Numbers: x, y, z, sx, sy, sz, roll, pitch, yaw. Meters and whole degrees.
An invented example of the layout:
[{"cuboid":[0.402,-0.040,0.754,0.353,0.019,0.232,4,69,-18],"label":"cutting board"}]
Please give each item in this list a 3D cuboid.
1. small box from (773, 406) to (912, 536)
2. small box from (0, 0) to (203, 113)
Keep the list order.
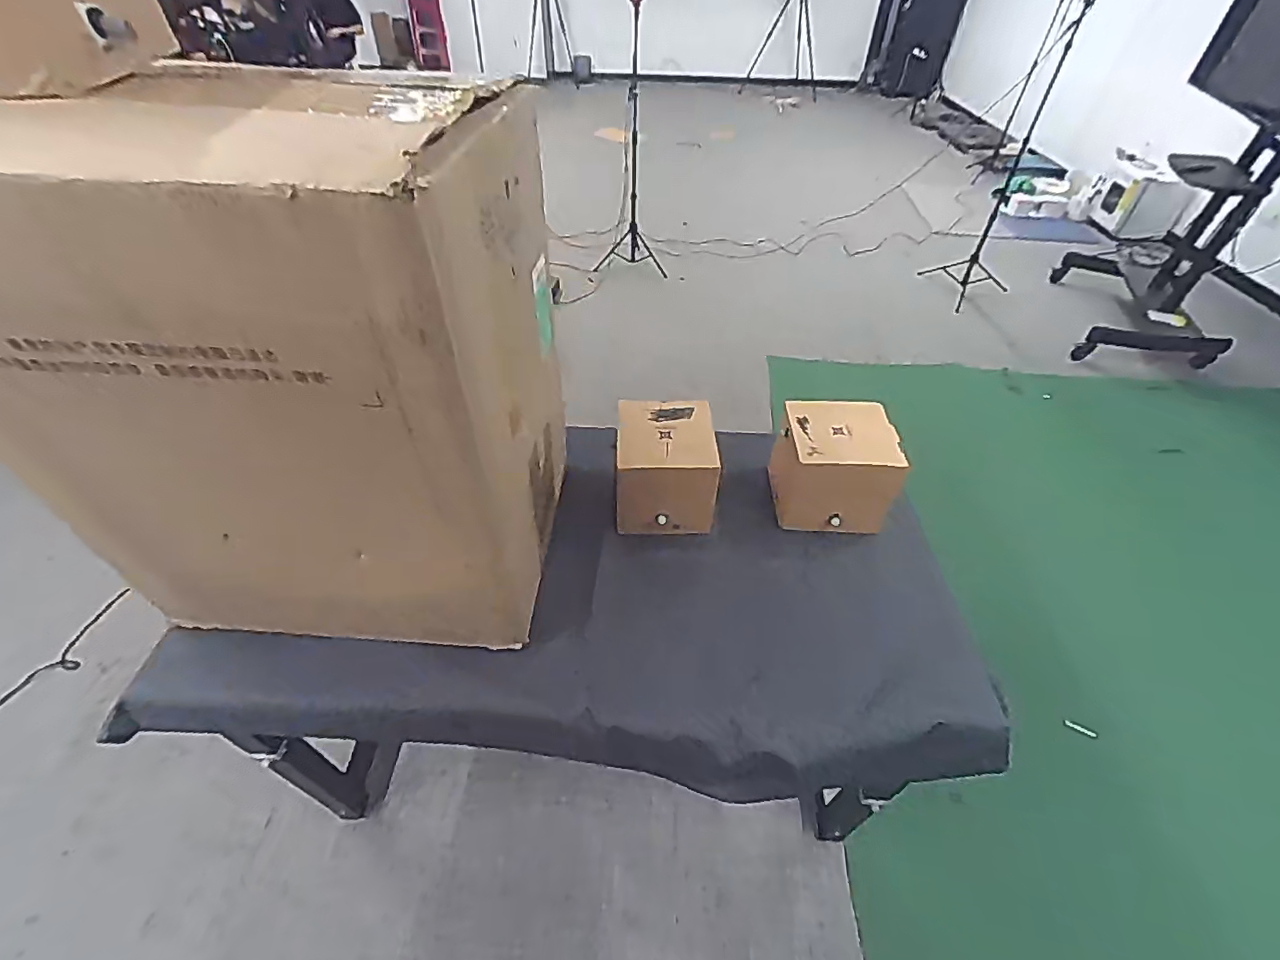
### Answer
[{"cuboid":[0.351,-0.013,0.976,0.179,0.176,0.168,3,45,1],"label":"small box"},{"cuboid":[-0.525,-0.419,0.439,0.179,0.176,0.168,1,50,-2],"label":"small box"}]
